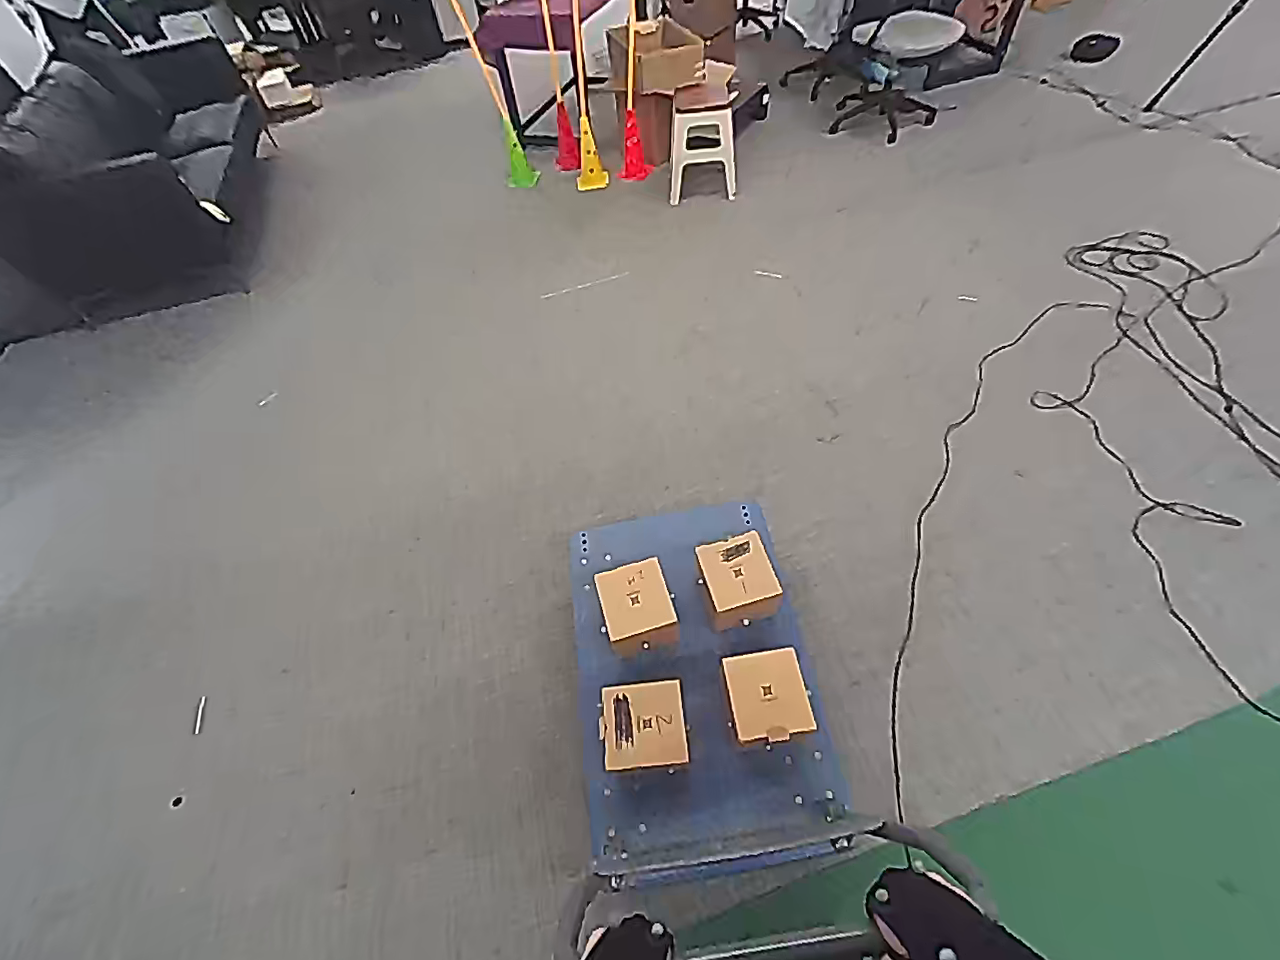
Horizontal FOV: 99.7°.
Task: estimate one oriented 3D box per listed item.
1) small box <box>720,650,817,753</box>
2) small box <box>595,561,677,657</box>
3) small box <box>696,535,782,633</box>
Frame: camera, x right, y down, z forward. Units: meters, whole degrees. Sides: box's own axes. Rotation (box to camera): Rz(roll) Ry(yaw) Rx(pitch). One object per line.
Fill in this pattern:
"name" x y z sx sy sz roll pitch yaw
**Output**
"small box" 0.283 0.508 1.233 0.168 0.176 0.179 -9 58 -1
"small box" -0.007 0.334 1.368 0.168 0.176 0.179 -15 57 -6
"small box" 0.244 0.270 1.387 0.168 0.176 0.179 -15 58 -4
